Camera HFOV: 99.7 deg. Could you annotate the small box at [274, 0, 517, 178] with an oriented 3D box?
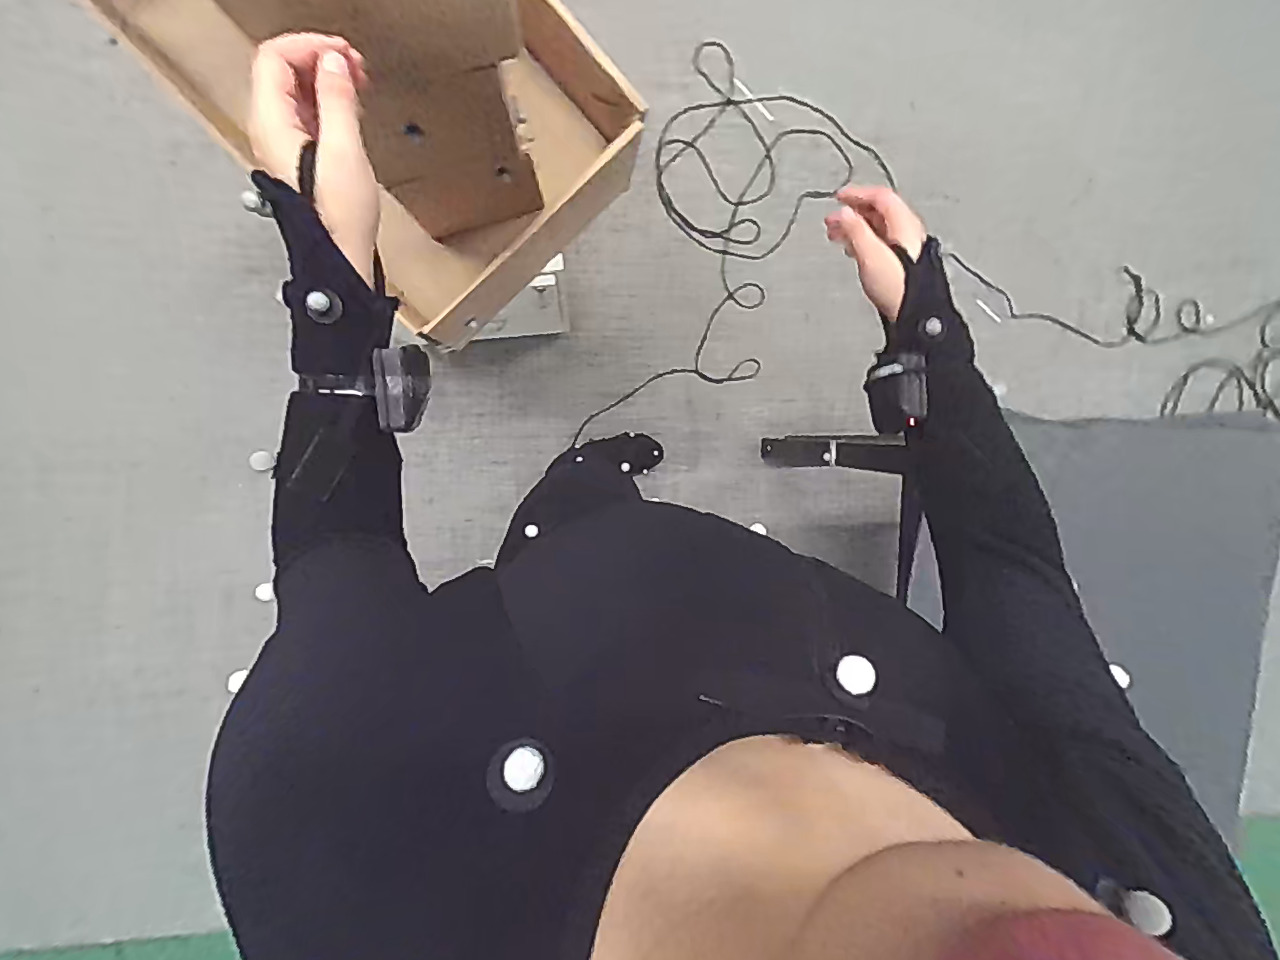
[{"bbox_3d":[-0.225,-0.426,0.530,0.179,0.176,0.168,-10,95,-3],"label":"small box"}]
